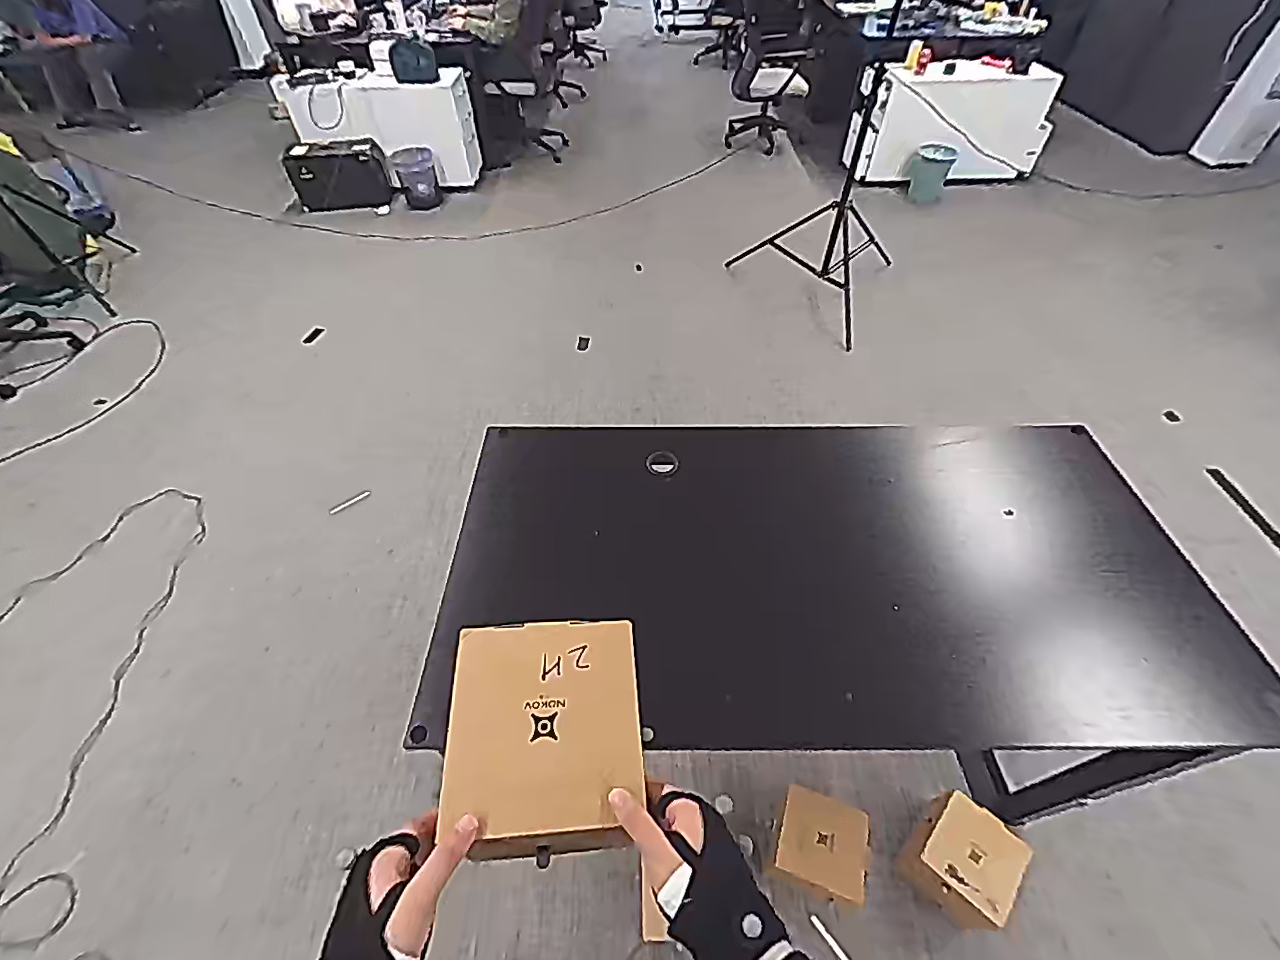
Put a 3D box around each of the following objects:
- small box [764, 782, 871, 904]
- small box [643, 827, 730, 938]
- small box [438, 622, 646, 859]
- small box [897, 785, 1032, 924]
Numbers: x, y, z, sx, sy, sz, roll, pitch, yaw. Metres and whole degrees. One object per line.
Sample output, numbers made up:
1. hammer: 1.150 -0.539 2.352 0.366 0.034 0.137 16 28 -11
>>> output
1. small box: 0.382 0.791 1.177 0.179 0.176 0.168 15 50 14
2. small box: 0.089 0.844 1.133 0.168 0.176 0.179 -2 51 0
3. small box: -0.086 0.260 0.534 0.168 0.176 0.179 -2 50 -7
4. small box: 0.685 0.803 1.159 0.168 0.176 0.179 35 58 27
